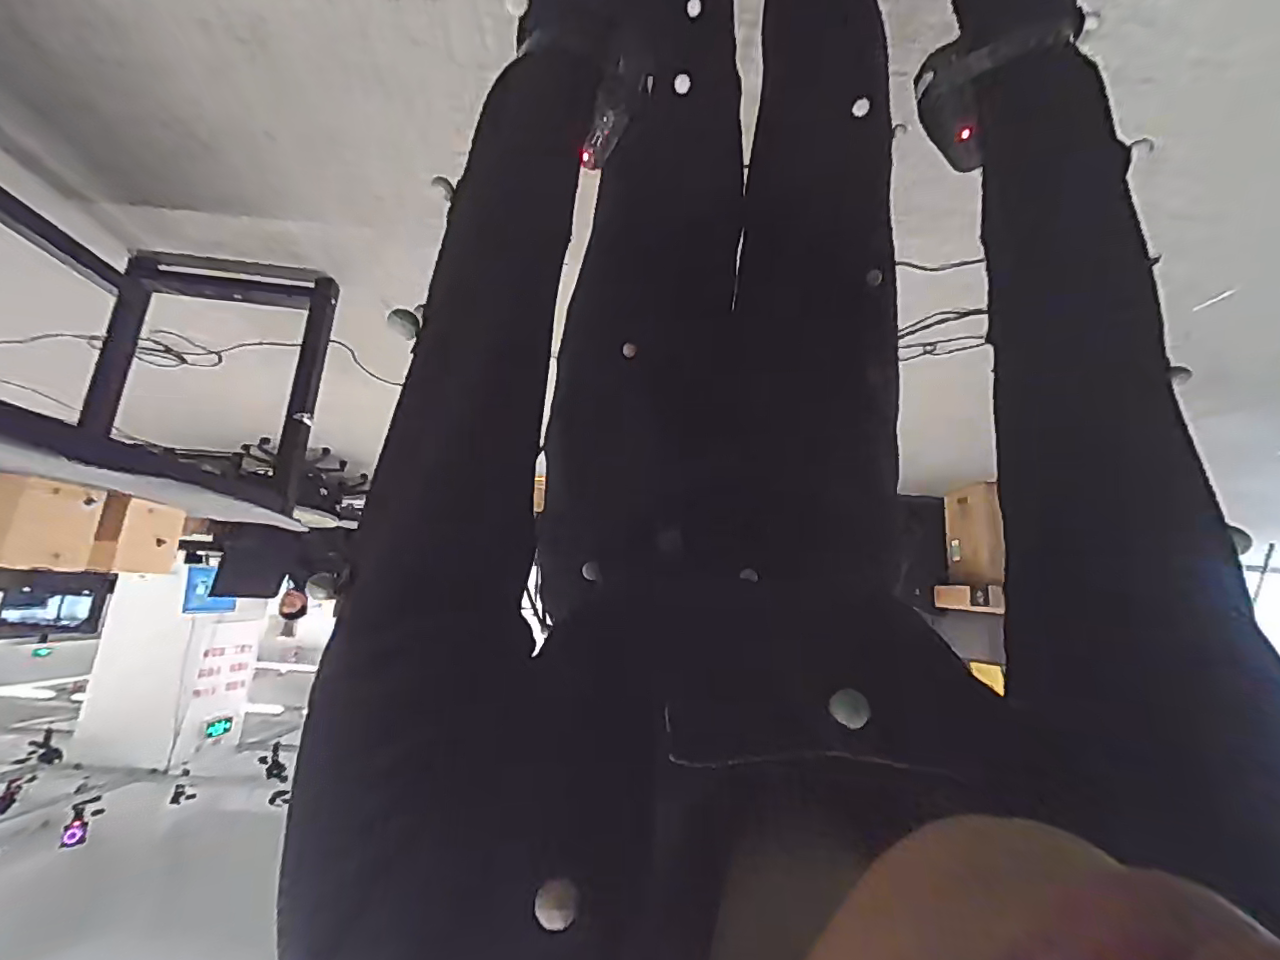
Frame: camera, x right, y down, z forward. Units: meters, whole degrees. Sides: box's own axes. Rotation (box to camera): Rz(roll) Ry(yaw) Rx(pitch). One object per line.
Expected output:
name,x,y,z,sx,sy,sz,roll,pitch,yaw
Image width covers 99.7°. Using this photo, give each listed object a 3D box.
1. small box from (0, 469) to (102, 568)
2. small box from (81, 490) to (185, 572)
small box,-1.182,0.071,1.021,0.179,0.176,0.168,6,167,-2
small box,-1.196,0.117,1.239,0.179,0.176,0.168,6,168,-2
